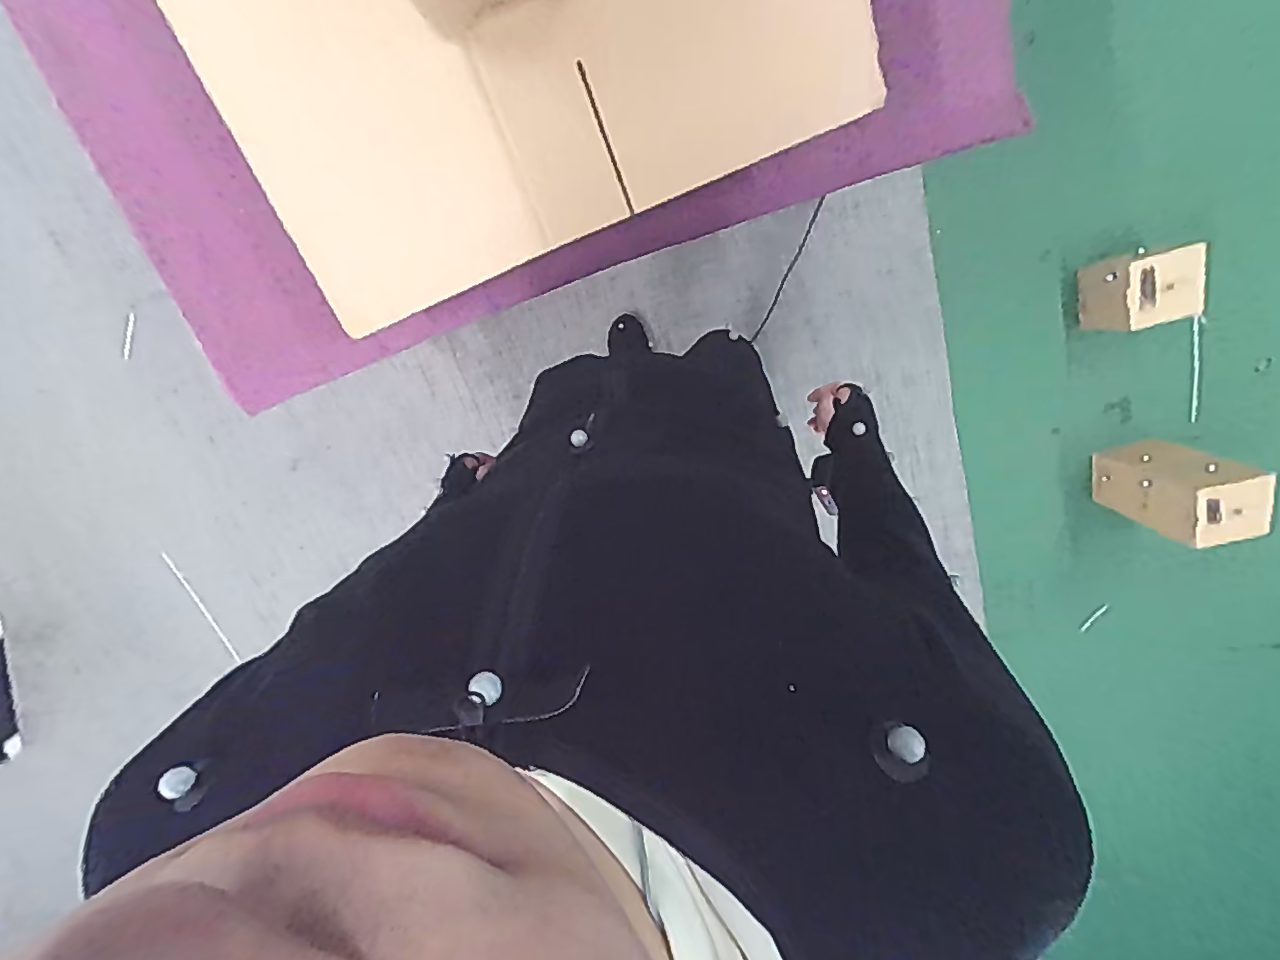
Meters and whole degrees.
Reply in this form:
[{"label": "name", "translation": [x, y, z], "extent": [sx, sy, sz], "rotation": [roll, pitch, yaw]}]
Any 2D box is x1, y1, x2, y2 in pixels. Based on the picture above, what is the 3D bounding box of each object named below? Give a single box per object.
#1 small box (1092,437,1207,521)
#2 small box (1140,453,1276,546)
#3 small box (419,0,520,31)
[{"label": "small box", "translation": [1.444, -0.009, 1.540], "extent": [0.179, 0.176, 0.168], "rotation": [-15, 109, 7]}, {"label": "small box", "translation": [1.440, 0.046, 1.386], "extent": [0.179, 0.176, 0.168], "rotation": [-14, 109, 6]}, {"label": "small box", "translation": [-0.156, -0.522, 0.433], "extent": [0.168, 0.176, 0.179], "rotation": [-19, 108, 6]}]
